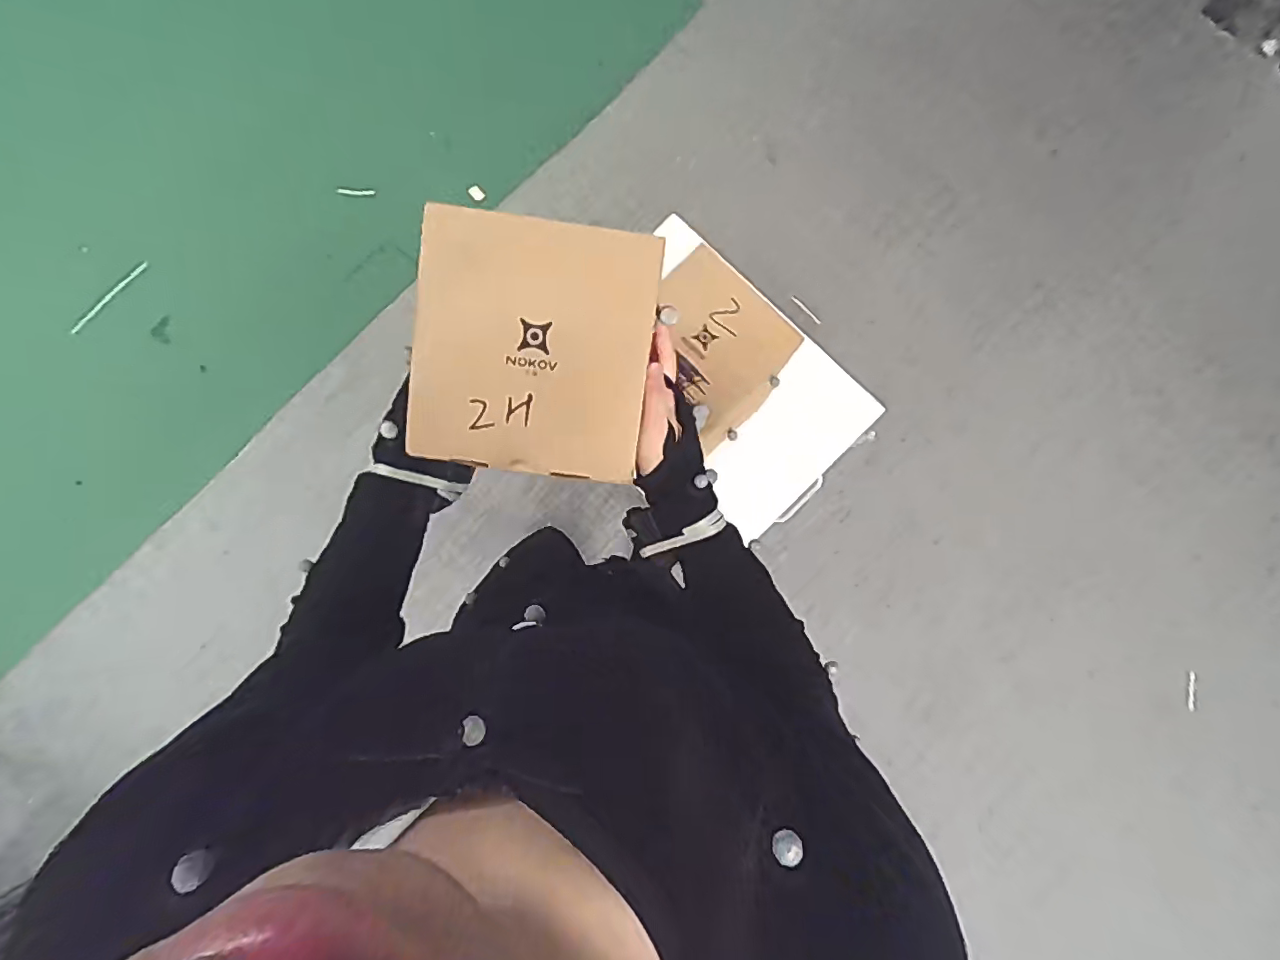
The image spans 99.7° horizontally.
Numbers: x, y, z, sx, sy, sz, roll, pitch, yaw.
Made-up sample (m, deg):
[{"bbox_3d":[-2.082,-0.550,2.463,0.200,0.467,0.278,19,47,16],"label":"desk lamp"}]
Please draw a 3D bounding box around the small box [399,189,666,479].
[{"bbox_3d":[-0.076,-0.105,0.443,0.168,0.176,0.179,7,98,-2],"label":"small box"}]

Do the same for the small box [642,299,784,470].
[{"bbox_3d":[0.088,-0.136,0.835,0.179,0.176,0.168,-42,84,-2],"label":"small box"}]
